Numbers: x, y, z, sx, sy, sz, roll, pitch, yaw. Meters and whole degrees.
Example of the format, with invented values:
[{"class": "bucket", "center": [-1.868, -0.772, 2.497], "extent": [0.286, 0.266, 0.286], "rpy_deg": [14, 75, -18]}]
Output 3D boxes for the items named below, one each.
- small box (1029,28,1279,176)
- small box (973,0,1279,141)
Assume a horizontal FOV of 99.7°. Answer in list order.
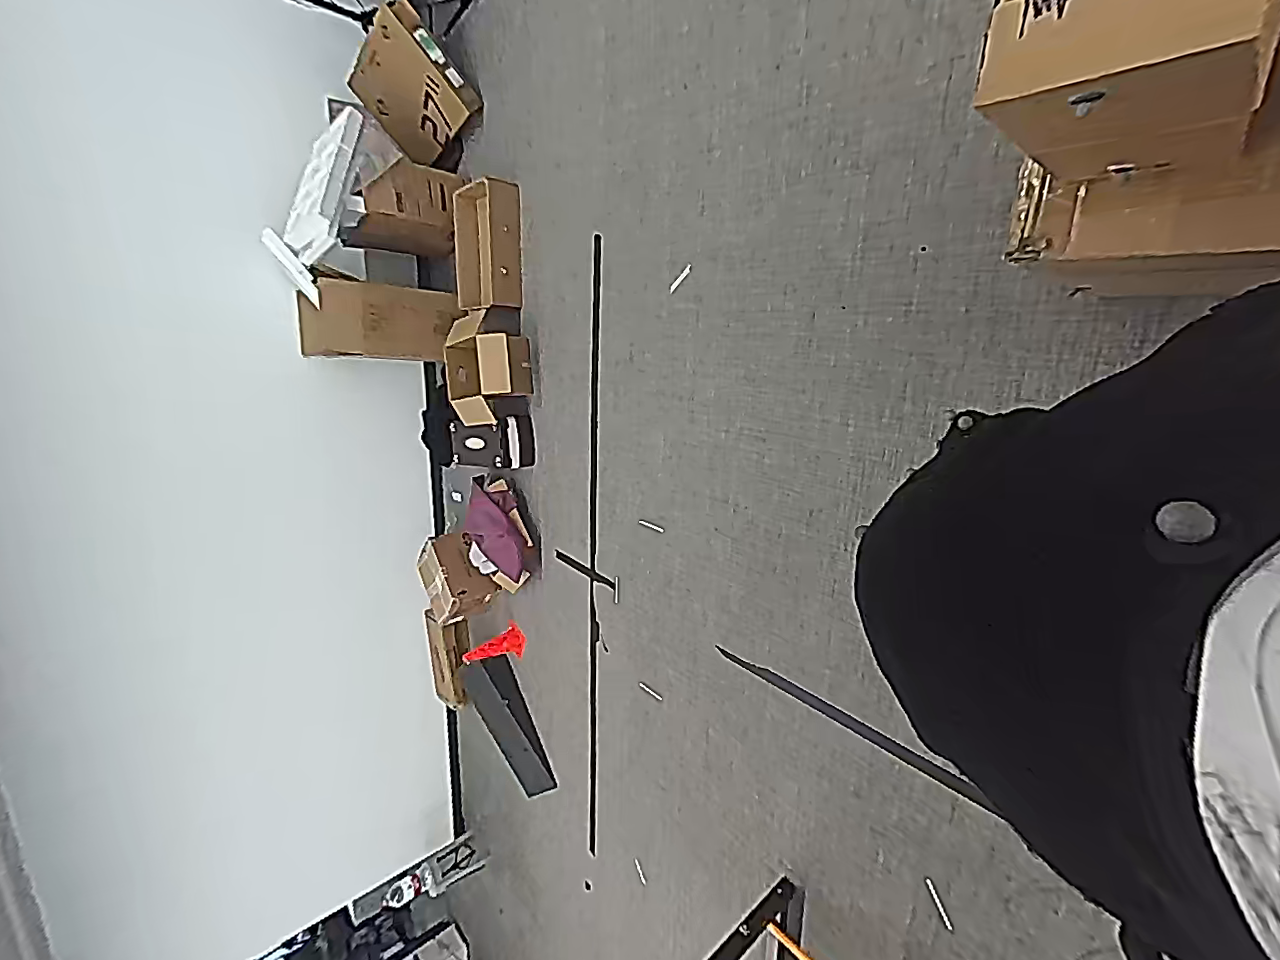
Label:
[{"class": "small box", "center": [0.542, -0.441, 0.564], "extent": [0.168, 0.176, 0.179], "rpy_deg": [19, 114, 46]}, {"class": "small box", "center": [0.421, -0.413, 0.457], "extent": [0.179, 0.176, 0.168], "rpy_deg": [18, 112, 46]}]
